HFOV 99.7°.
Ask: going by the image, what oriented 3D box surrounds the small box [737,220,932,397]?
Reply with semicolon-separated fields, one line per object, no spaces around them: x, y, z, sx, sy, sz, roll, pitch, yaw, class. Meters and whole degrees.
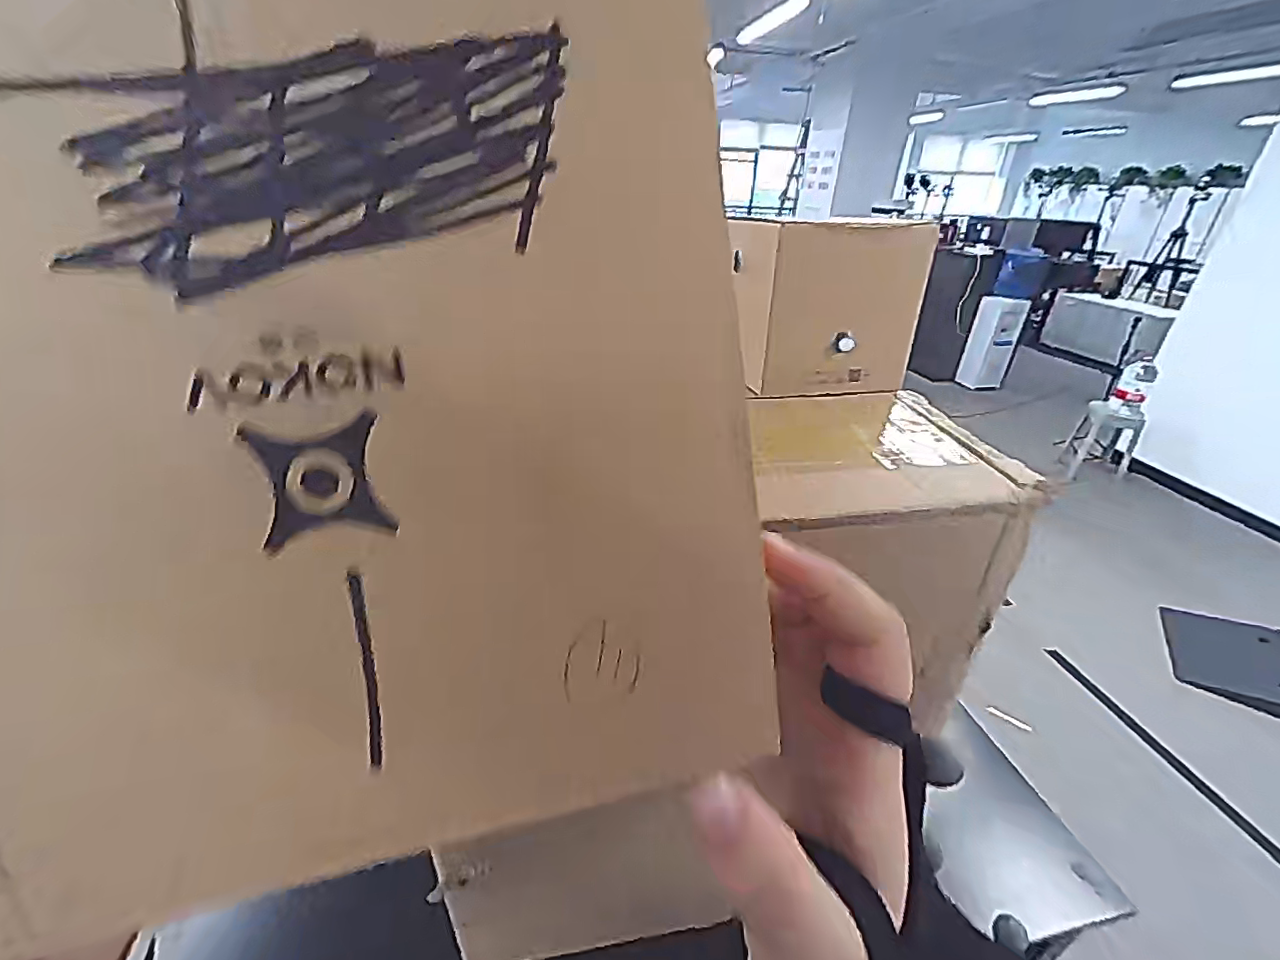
0.186;-0.199;0.615;0.168;0.176;0.179;-5;28;-11;small box
